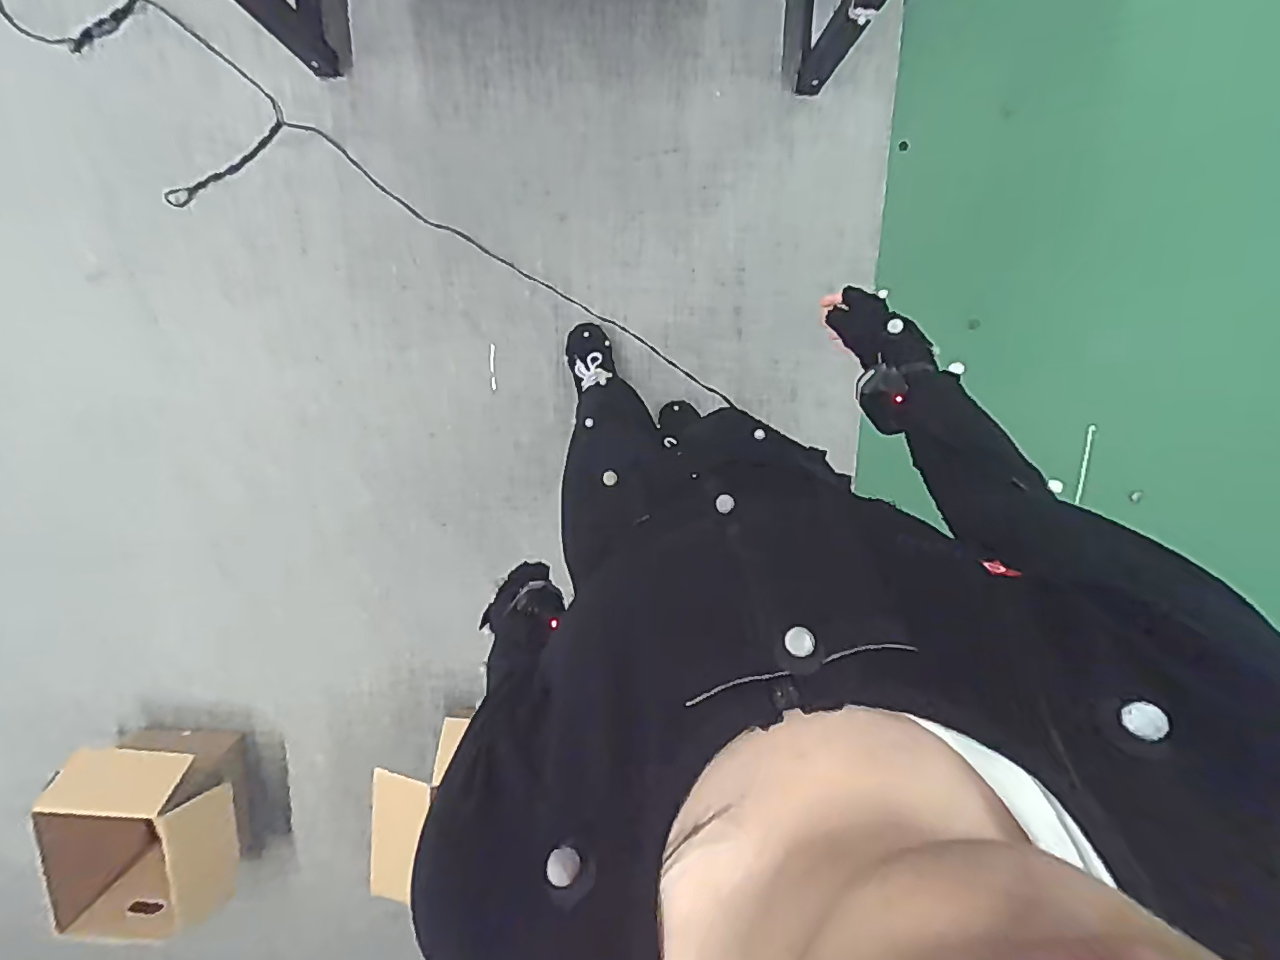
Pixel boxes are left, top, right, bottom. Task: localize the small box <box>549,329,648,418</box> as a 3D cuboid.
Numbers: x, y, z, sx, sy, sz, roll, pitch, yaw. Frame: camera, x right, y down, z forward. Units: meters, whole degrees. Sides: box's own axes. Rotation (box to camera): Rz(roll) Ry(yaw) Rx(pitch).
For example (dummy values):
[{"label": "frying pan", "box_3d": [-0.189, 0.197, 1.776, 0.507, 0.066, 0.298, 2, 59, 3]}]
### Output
[{"label": "small box", "box_3d": [-0.107, -0.267, 1.352, 0.179, 0.176, 0.168, 28, 110, 12]}]
